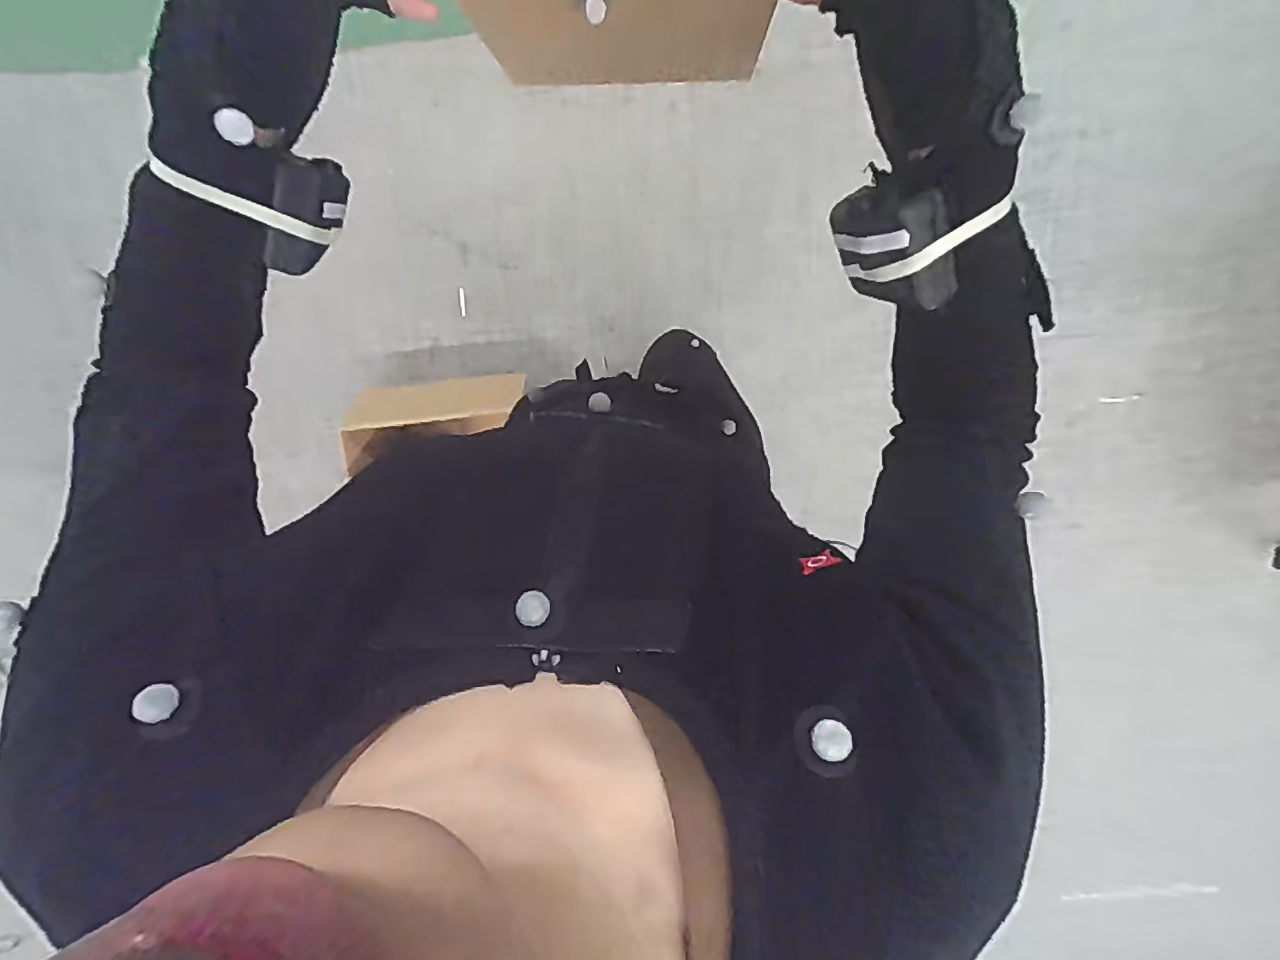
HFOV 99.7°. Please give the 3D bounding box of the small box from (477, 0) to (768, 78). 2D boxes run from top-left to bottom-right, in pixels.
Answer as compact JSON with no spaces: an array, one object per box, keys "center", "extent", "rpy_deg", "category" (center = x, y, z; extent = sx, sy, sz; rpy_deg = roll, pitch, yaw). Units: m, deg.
[{"center":[-0.010,-0.344,0.292],"extent":[0.179,0.176,0.168],"rpy_deg":[1,108,2],"category":"small box"}]
